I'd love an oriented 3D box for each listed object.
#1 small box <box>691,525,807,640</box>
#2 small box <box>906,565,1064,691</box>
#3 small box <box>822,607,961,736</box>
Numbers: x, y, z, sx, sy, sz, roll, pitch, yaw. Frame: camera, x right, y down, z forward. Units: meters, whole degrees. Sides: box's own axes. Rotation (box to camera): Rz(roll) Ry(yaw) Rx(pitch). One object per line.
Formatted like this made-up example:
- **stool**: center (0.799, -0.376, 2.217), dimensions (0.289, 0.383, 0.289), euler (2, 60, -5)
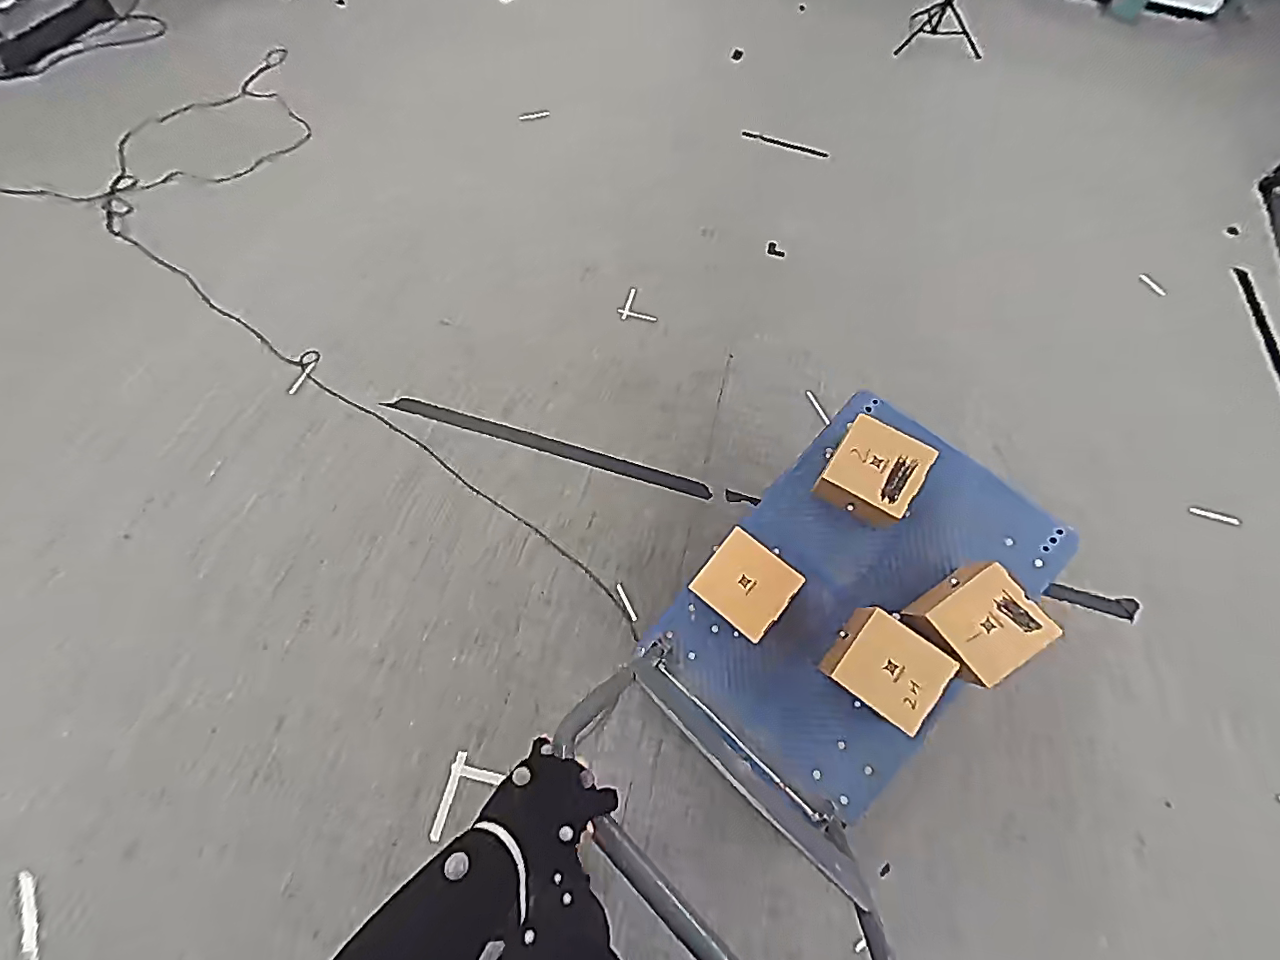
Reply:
- **small box**: center (0.230, 0.224, 1.171), dimensions (0.179, 0.176, 0.168), euler (39, 86, 14)
- **small box**: center (0.672, 0.289, 1.079), dimensions (0.179, 0.176, 0.168), euler (-36, 73, 1)
- **small box**: center (0.491, 0.377, 1.089), dimensions (0.179, 0.176, 0.168), euler (37, 85, 16)
